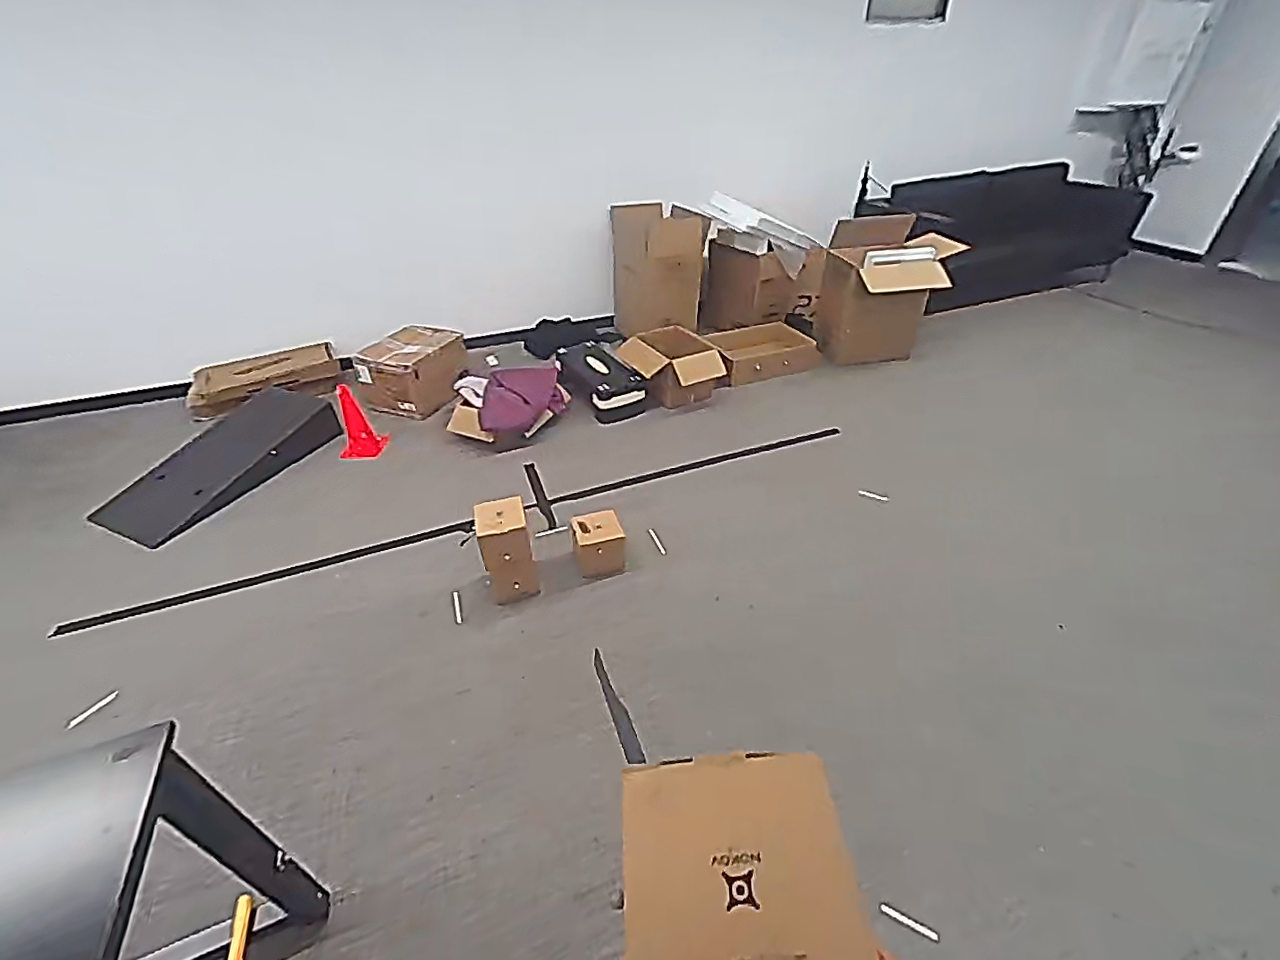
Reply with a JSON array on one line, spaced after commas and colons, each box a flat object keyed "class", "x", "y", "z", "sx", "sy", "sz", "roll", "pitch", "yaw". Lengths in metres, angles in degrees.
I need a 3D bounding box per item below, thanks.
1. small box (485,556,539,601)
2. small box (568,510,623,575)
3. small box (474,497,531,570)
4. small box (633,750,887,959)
[{"class": "small box", "x": -0.479, "y": 0.322, "z": 1.991, "sx": 0.168, "sy": 0.176, "sz": 0.179, "roll": -15, "pitch": 40, "yaw": -17}, {"class": "small box", "x": -0.168, "y": 0.244, "z": 2.088, "sx": 0.179, "sy": 0.176, "sz": 0.168, "roll": -12, "pitch": 38, "yaw": -15}, {"class": "small box", "x": -0.482, "y": 0.188, "z": 1.894, "sx": 0.168, "sy": 0.176, "sz": 0.179, "roll": -12, "pitch": 38, "yaw": -12}, {"class": "small box", "x": 0.081, "y": 0.346, "z": 0.436, "sx": 0.168, "sy": 0.176, "sz": 0.179, "roll": -5, "pitch": 40, "yaw": 1}]
